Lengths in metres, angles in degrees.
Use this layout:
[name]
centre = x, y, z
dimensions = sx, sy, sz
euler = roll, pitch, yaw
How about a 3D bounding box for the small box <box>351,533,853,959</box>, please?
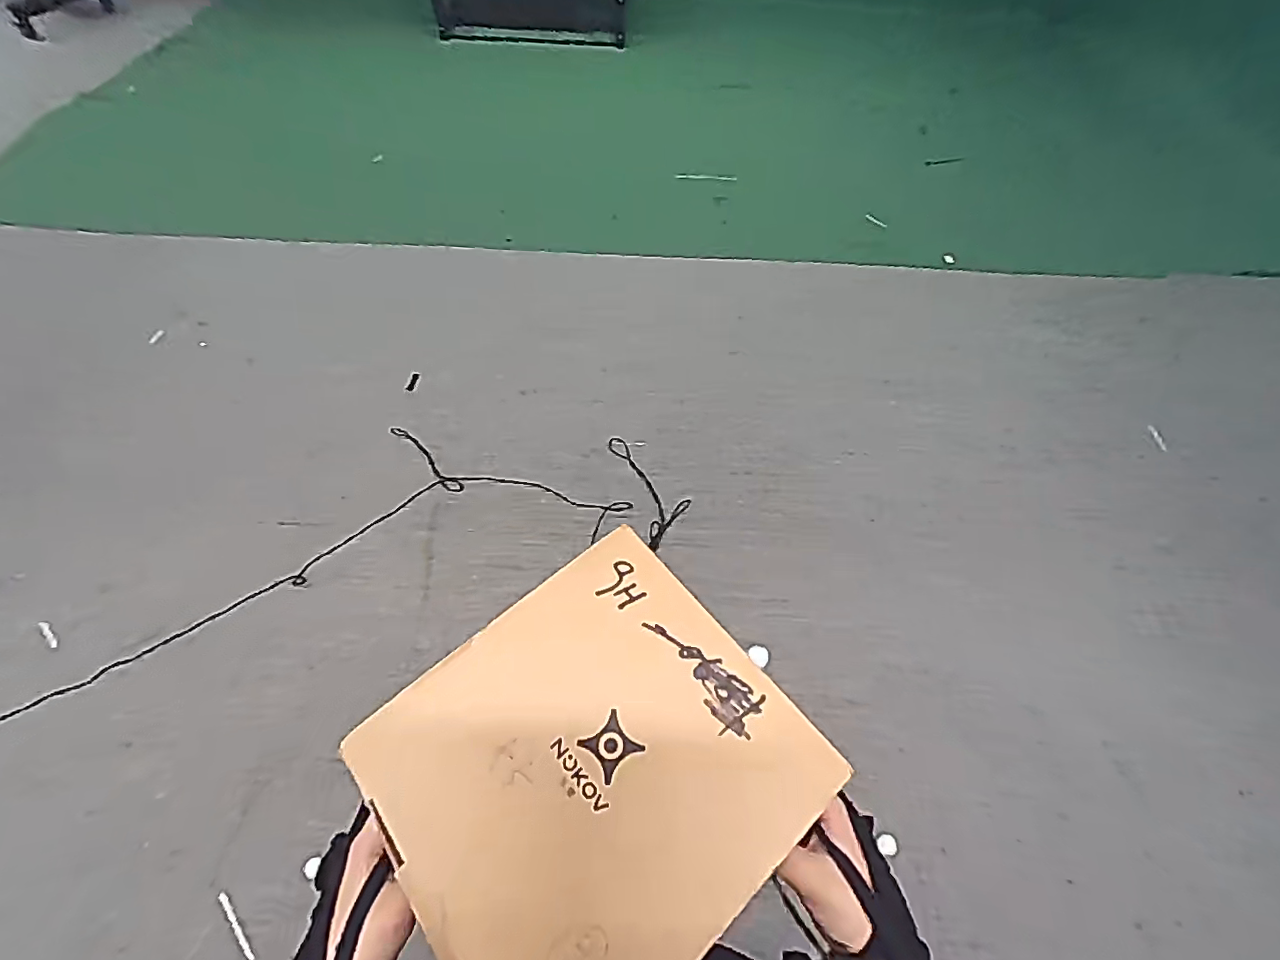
[small box]
centre = -0.018, 0.170, 0.315
dimensions = 0.179, 0.176, 0.168
euler = -36, 67, -19
